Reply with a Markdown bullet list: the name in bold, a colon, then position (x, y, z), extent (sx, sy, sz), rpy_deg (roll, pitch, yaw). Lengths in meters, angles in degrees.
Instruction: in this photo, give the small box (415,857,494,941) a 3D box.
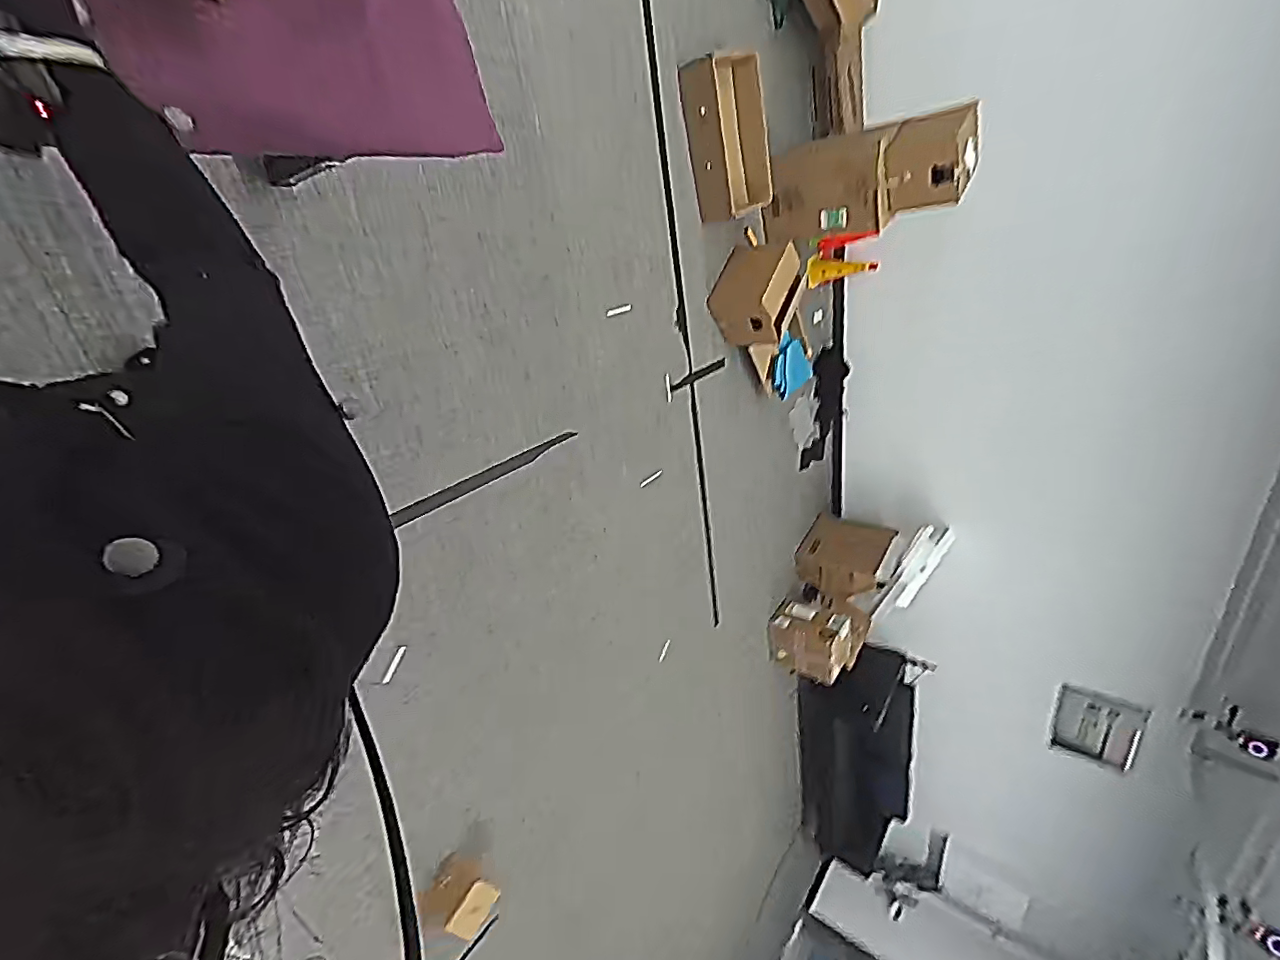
- **small box**: position (-0.673, 1.520, 1.966), extent (0.168, 0.176, 0.179), rpy_deg (-52, 135, -31)
